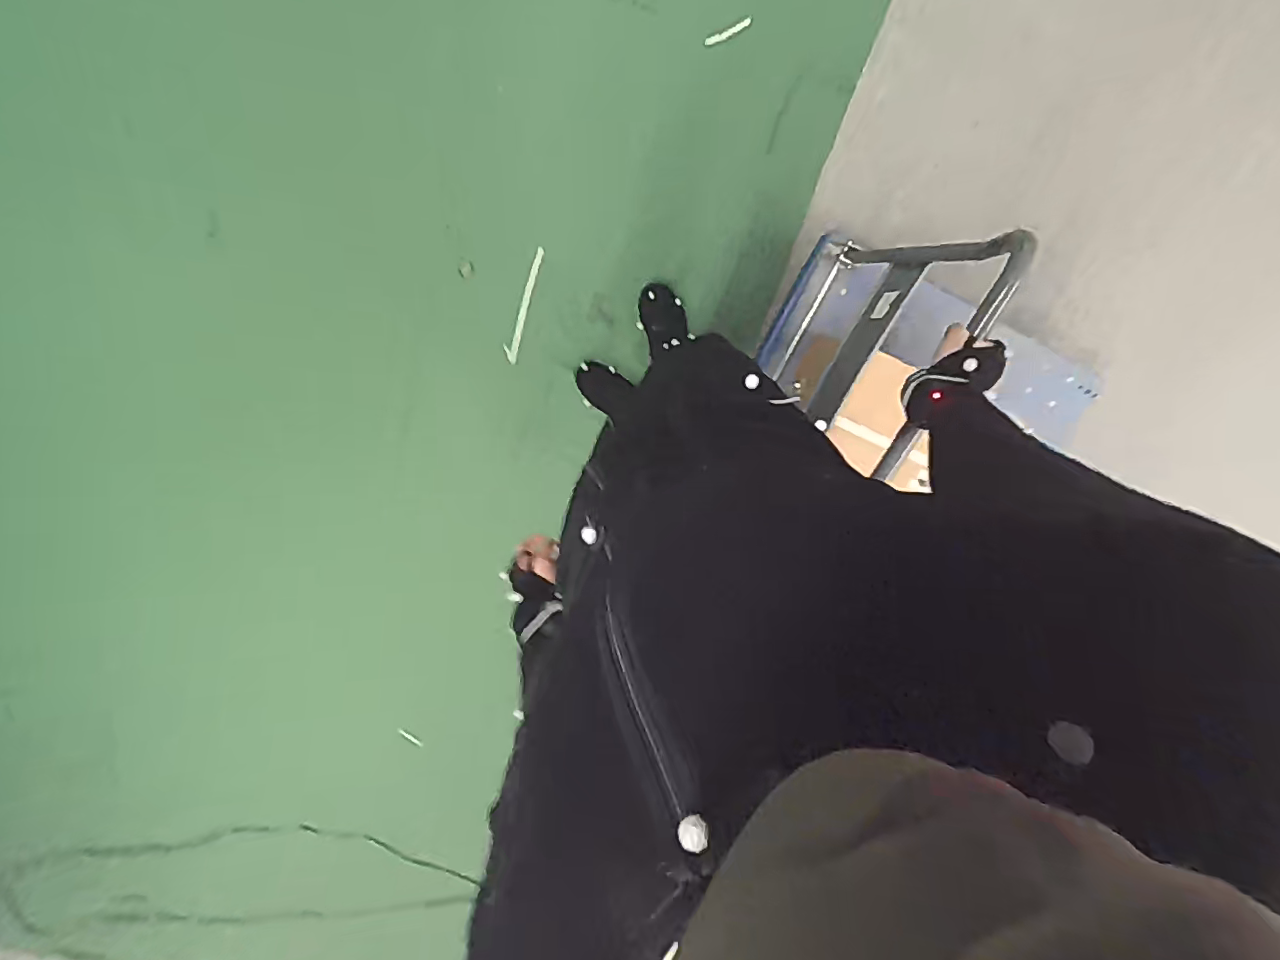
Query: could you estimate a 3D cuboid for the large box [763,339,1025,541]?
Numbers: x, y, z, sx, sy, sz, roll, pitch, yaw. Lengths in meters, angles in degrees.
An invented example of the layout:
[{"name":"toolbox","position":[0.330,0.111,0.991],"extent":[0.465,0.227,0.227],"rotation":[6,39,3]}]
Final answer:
[{"name":"large box","position":[0.567,-0.110,1.291],"extent":[0.408,0.320,0.320],"rotation":[22,108,-9]}]
